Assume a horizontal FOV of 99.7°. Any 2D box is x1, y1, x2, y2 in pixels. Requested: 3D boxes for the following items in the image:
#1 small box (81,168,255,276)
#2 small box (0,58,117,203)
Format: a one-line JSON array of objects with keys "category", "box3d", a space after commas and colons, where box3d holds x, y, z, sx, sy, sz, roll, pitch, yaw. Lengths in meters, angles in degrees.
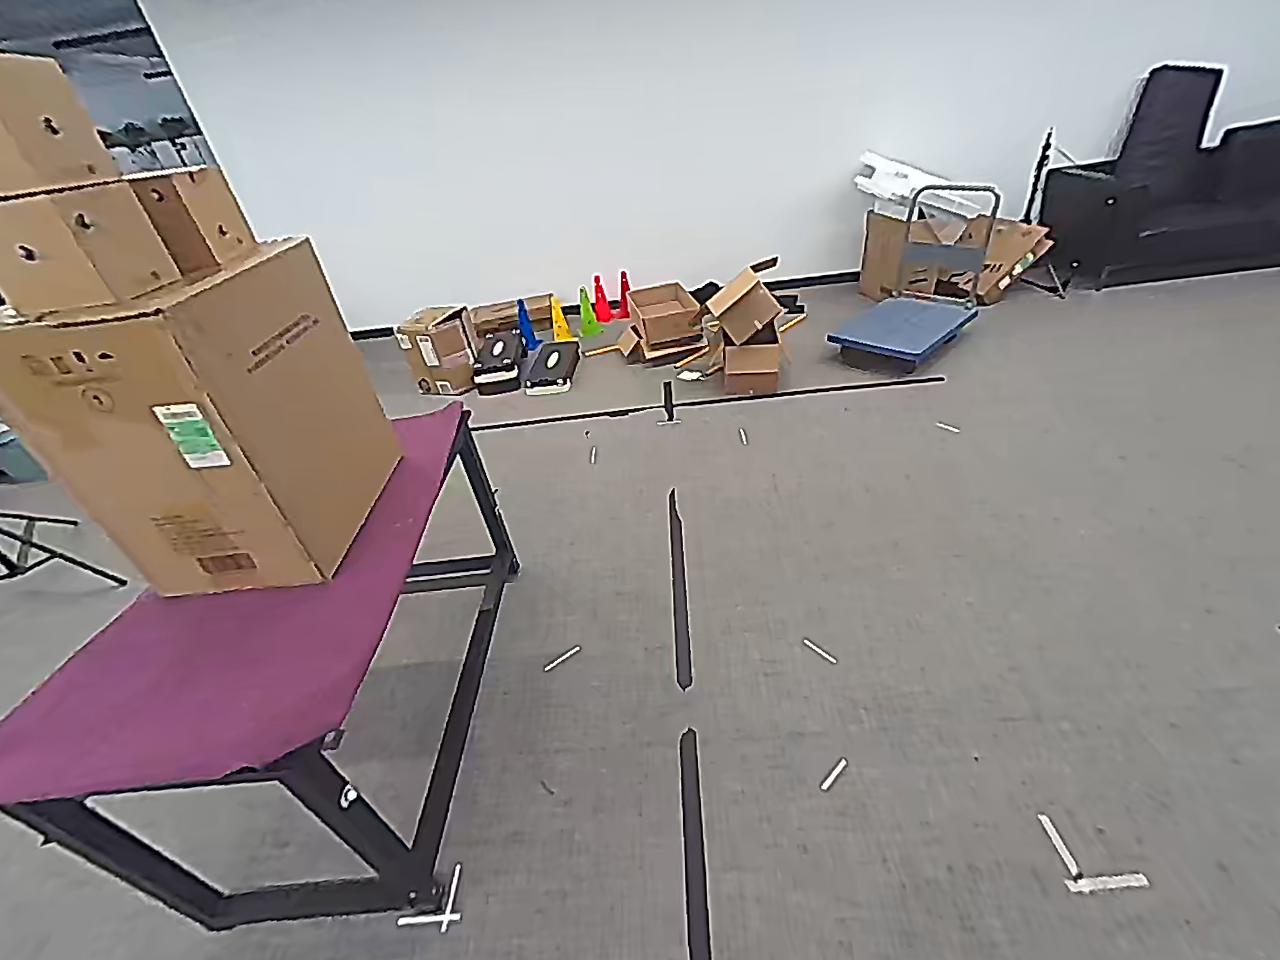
[{"category": "small box", "box3d": [-0.959, -0.532, 1.119, 0.179, 0.176, 0.168, -8, 36, 0]}, {"category": "small box", "box3d": [-0.969, -0.519, 0.814, 0.179, 0.176, 0.168, -9, 33, -1]}]
